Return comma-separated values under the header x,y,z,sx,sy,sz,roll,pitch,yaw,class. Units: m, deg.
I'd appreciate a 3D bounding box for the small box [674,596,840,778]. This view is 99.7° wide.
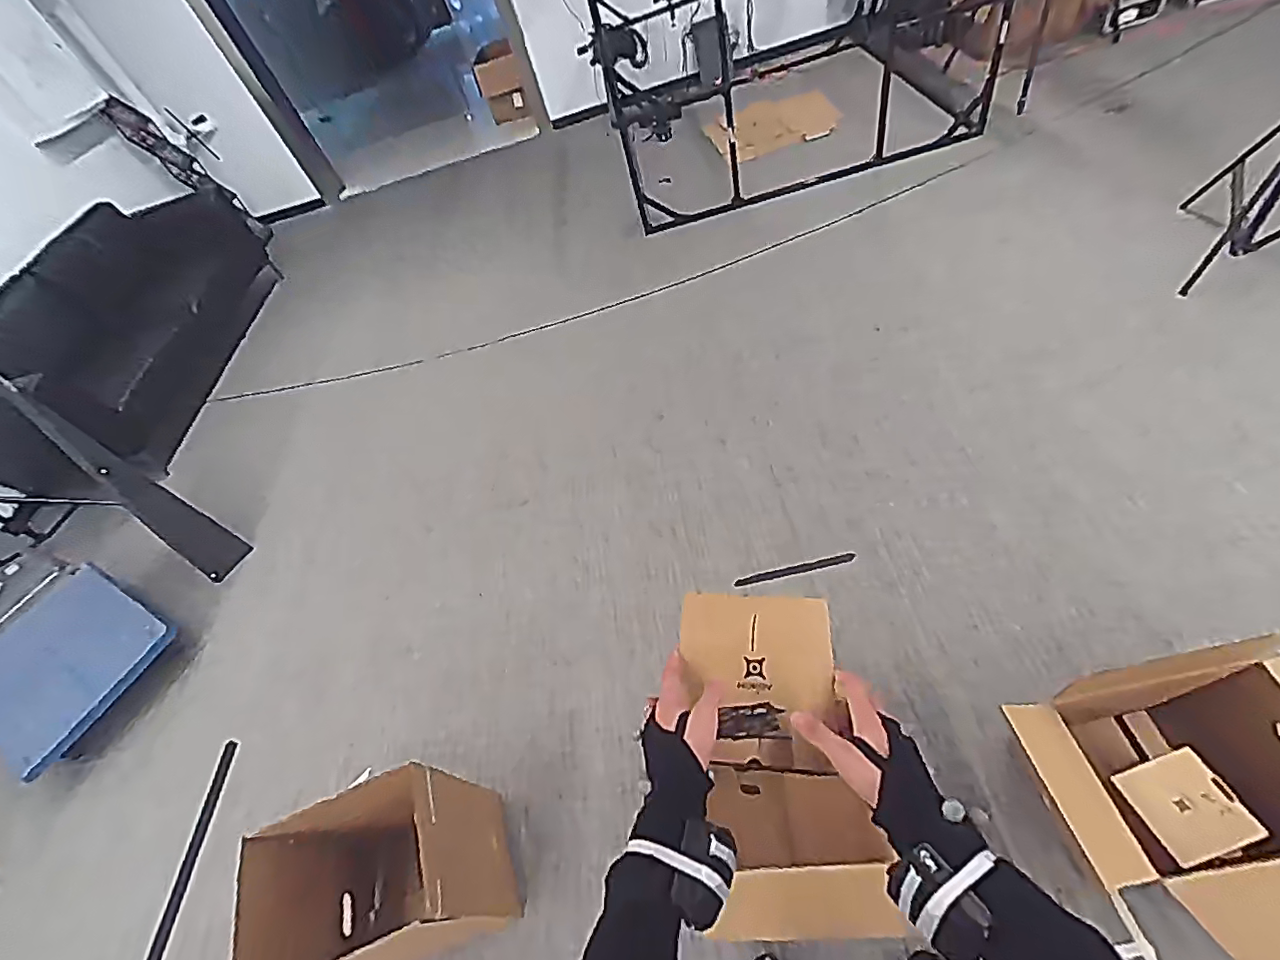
x,y,z,sx,sy,sz,roll,pitch,yaw,class
0.137,0.249,0.641,0.168,0.176,0.179,-1,60,11,small box
